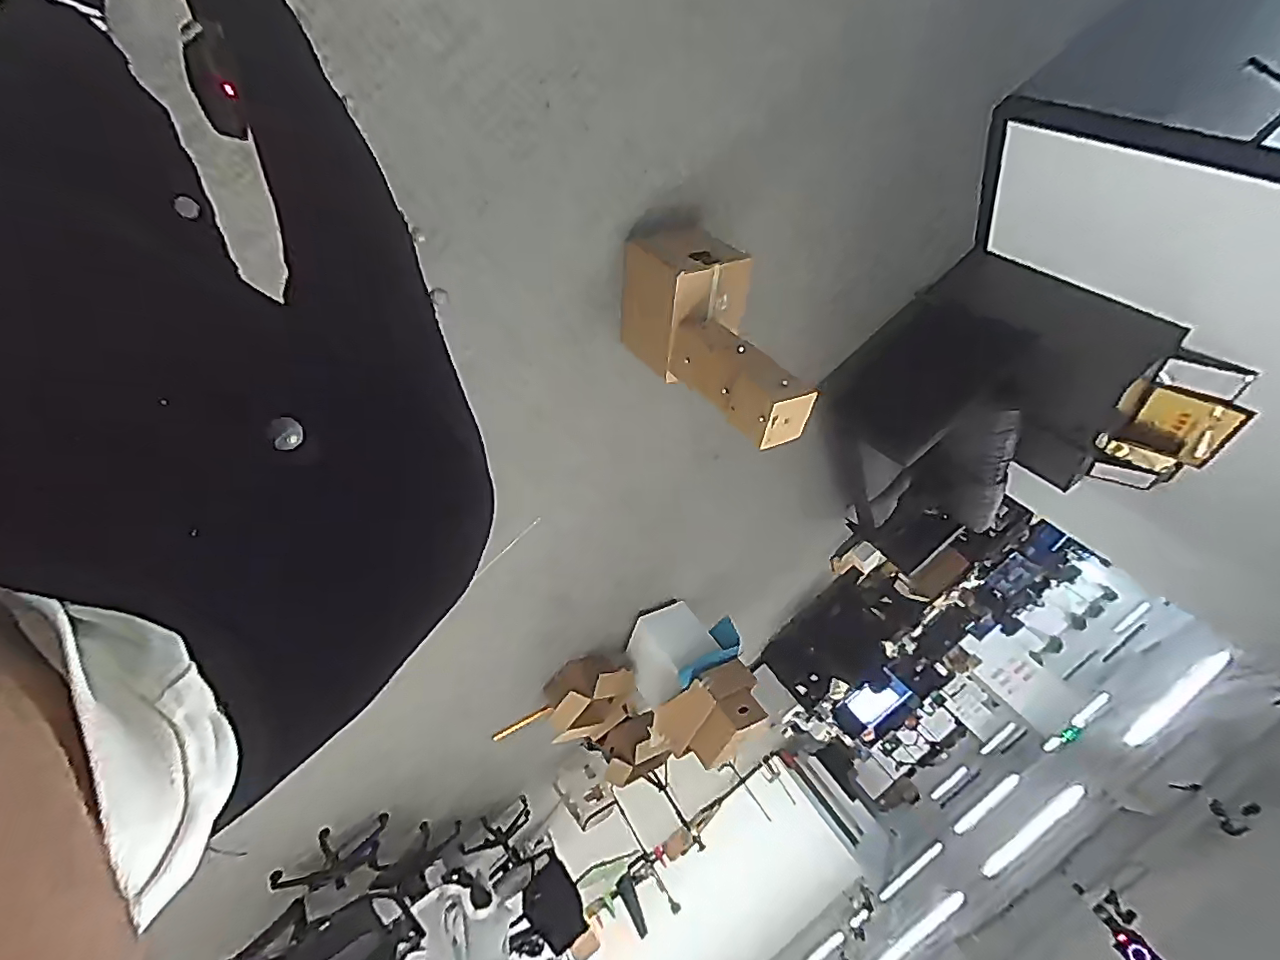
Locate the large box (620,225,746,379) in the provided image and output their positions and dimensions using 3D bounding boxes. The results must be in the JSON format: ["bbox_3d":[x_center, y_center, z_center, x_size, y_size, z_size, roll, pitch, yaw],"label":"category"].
[{"bbox_3d":[0.135,-0.641,1.941,0.320,0.320,0.408,-24,141,-26],"label":"large box"}]

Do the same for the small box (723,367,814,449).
[{"bbox_3d":[0.381,-0.223,1.623,0.179,0.176,0.168,-19,138,-29],"label":"small box"}]

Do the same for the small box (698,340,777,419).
[{"bbox_3d":[0.304,-0.323,1.730,0.168,0.176,0.179,-19,138,-27],"label":"small box"}]
